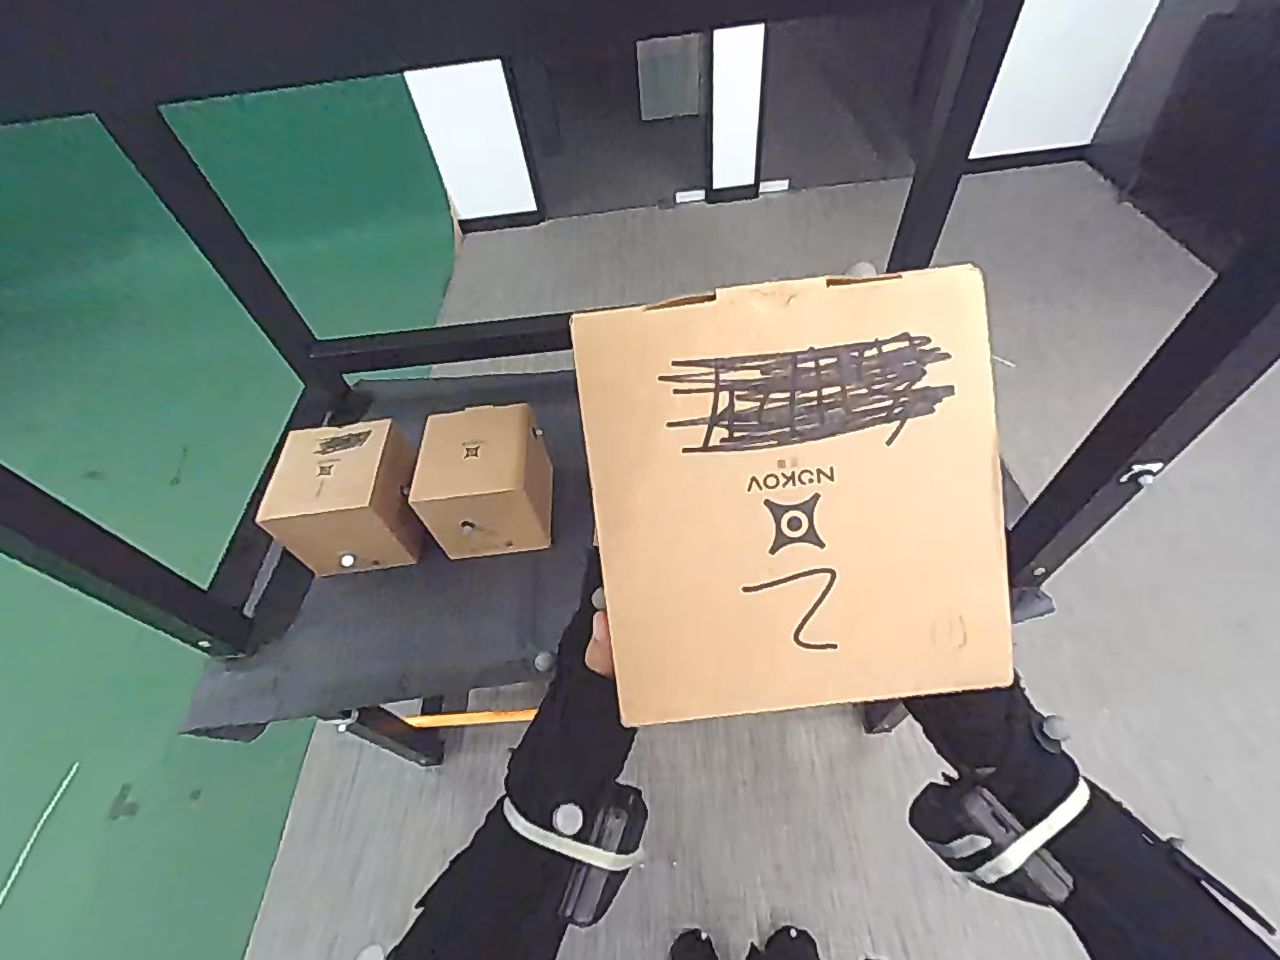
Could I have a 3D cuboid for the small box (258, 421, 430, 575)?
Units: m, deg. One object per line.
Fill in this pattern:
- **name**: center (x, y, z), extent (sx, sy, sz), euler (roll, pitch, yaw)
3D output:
- **small box**: center (-0.457, 0.032, 0.874), extent (0.168, 0.176, 0.179), euler (-8, 52, 2)
